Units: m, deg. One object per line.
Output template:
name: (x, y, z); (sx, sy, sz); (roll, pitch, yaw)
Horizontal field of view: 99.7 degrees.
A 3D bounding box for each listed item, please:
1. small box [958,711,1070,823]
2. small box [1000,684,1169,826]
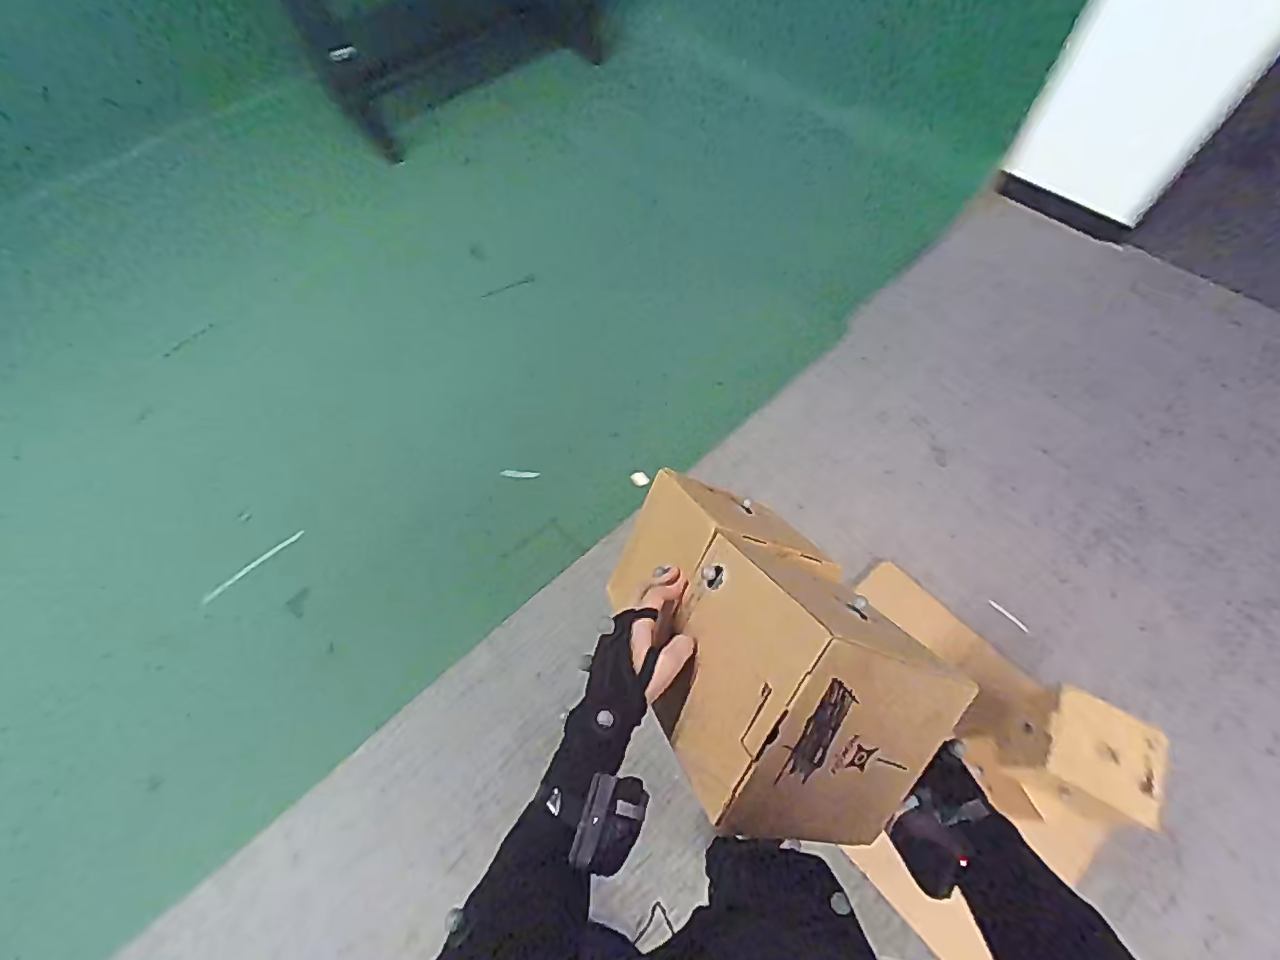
small box: (0.832, 0.601, 1.155); (0.179, 0.176, 0.168); (-21, 63, -7)
small box: (0.821, 0.515, 1.016); (0.179, 0.176, 0.168); (27, 67, 17)
